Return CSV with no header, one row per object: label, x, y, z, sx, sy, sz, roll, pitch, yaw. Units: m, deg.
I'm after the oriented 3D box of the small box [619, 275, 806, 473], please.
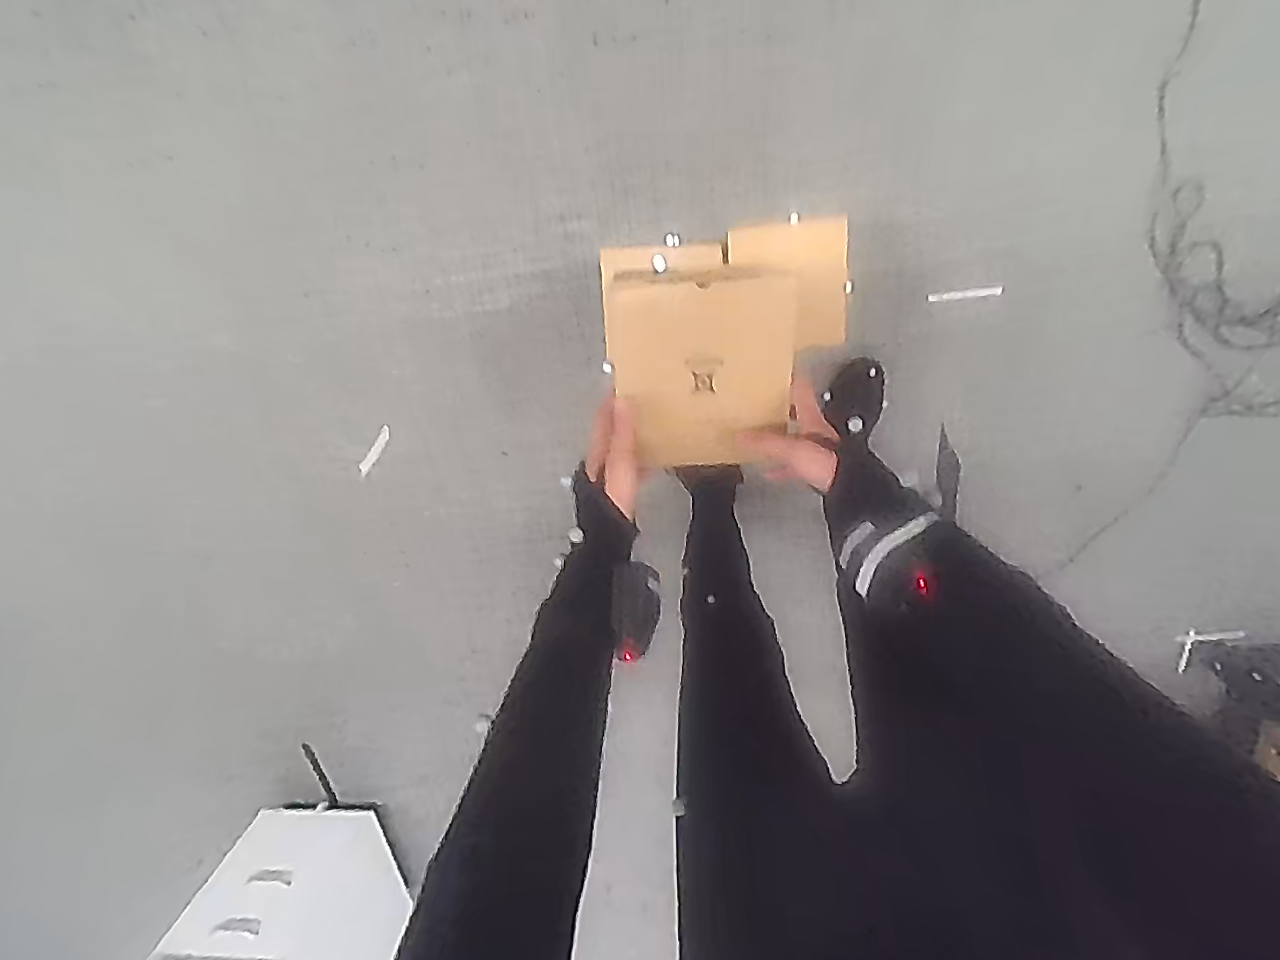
small box,0.063,-0.120,0.569,0.168,0.176,0.179,-2,114,0
